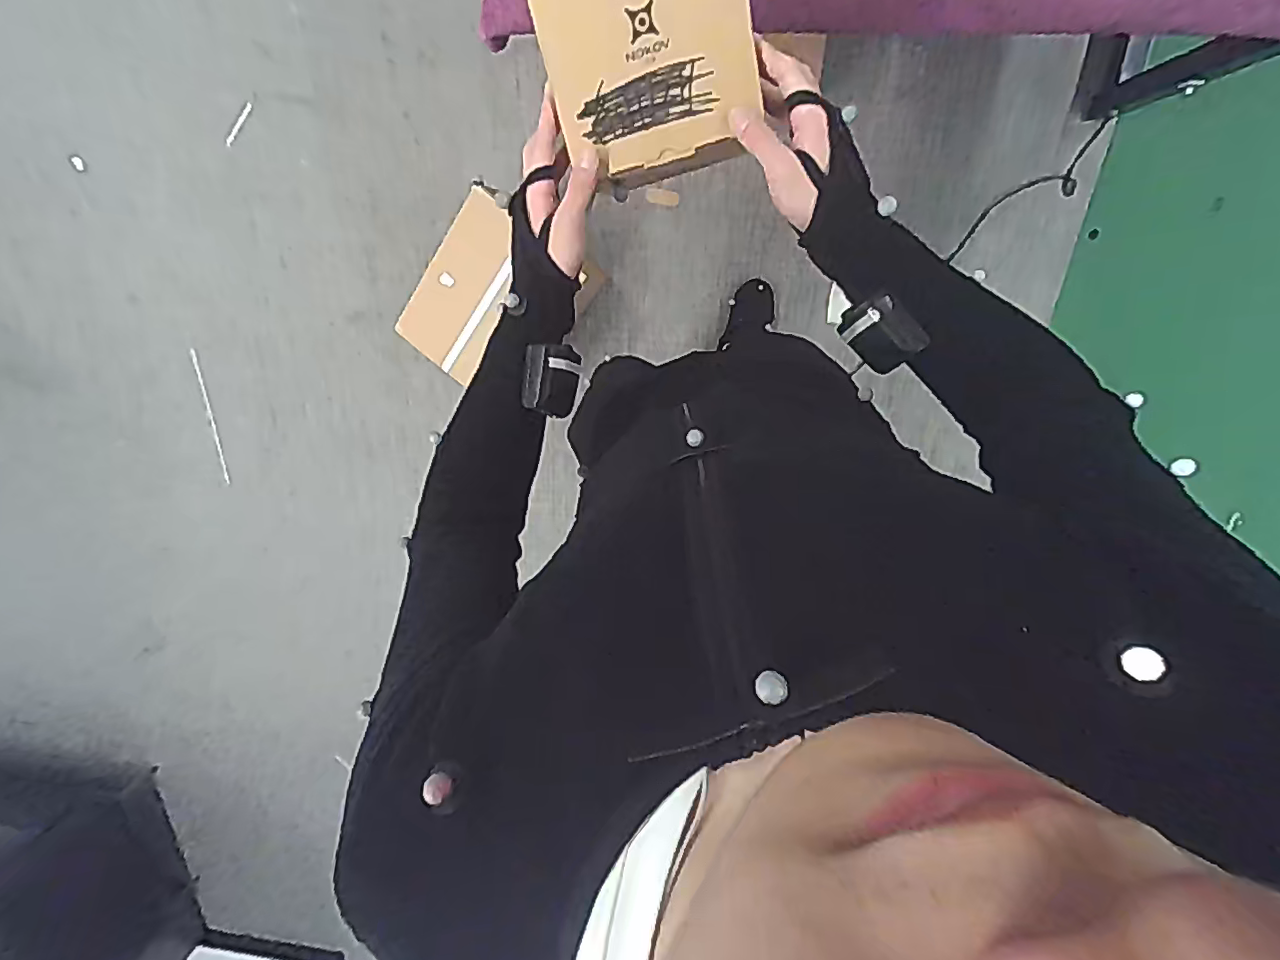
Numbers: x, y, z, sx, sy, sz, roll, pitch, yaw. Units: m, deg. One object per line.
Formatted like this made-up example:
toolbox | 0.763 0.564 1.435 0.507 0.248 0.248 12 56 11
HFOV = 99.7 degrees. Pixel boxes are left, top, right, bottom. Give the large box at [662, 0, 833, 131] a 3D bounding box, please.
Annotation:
large box | 0.222 -0.994 1.122 0.320 0.320 0.408 5 111 5
